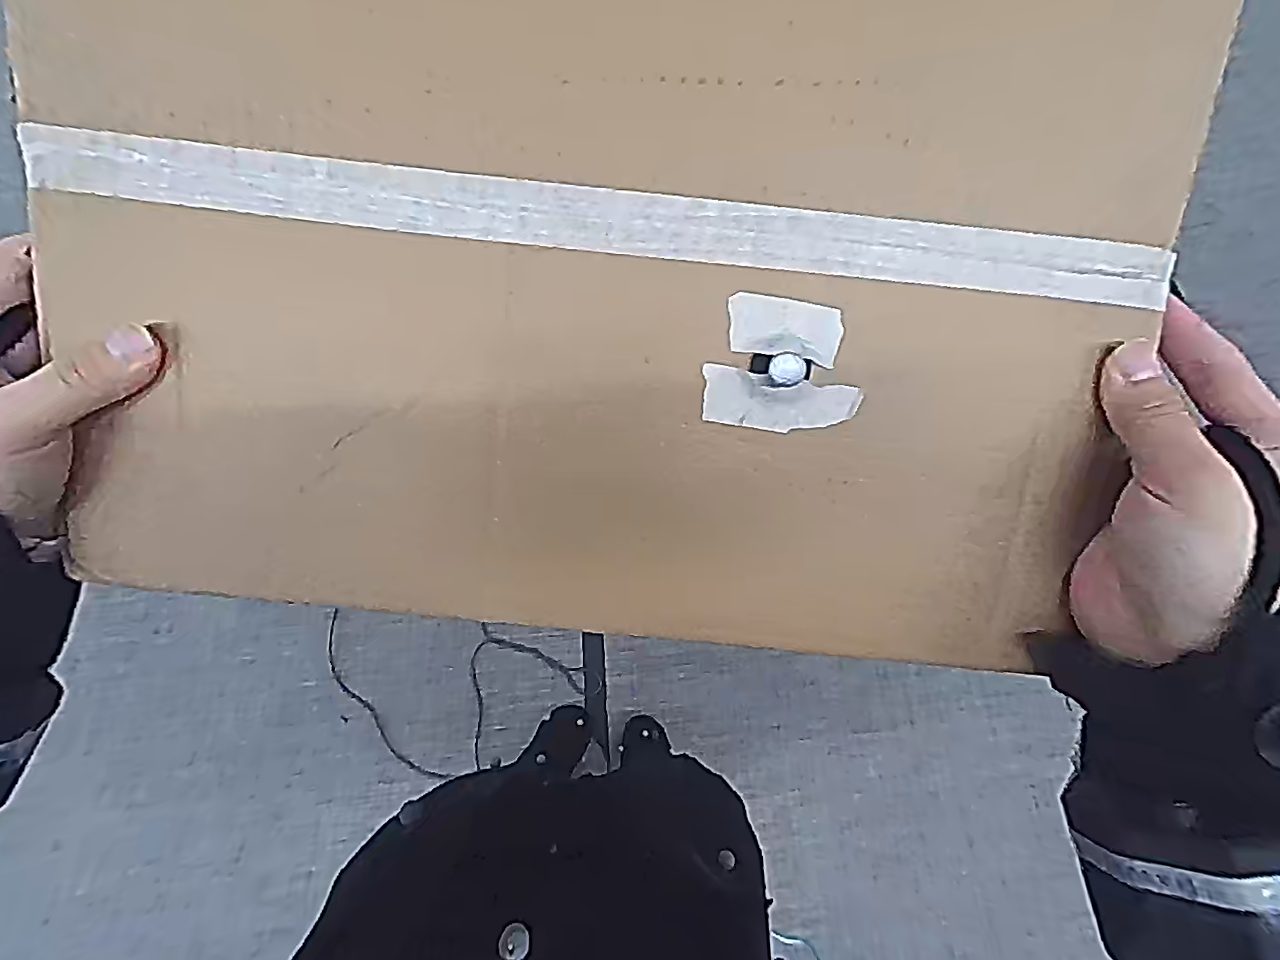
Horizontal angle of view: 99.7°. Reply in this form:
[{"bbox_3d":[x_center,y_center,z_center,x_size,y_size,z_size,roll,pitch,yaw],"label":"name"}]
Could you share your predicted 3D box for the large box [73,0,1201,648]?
[{"bbox_3d":[-0.010,-0.114,0.352,0.408,0.320,0.320,5,100,-2],"label":"large box"}]
